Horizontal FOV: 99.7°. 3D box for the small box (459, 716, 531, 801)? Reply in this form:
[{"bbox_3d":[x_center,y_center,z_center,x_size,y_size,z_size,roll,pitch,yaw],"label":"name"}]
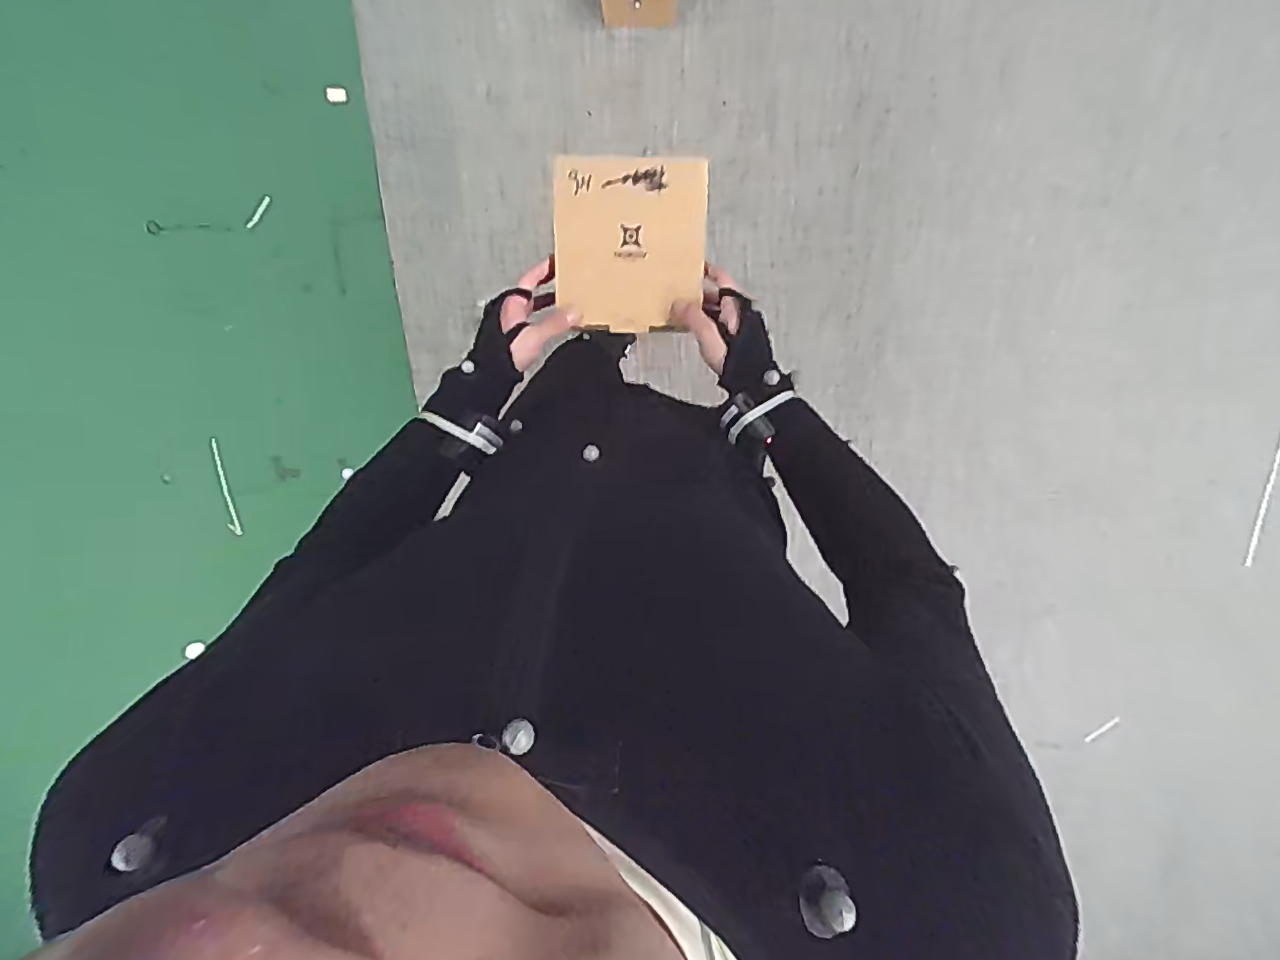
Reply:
[{"bbox_3d":[-0.441,0.853,1.668,0.168,0.176,0.179,-3,108,2],"label":"small box"}]

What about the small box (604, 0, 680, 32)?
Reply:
[{"bbox_3d":[0.007,-1.137,1.204,0.179,0.176,0.168,3,108,0],"label":"small box"}]

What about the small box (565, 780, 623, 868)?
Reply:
[{"bbox_3d":[-0.142,1.095,1.727,0.168,0.176,0.179,-2,106,2],"label":"small box"}]

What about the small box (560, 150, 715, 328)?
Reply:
[{"bbox_3d":[-0.003,-0.280,0.663,0.168,0.176,0.179,2,105,0],"label":"small box"}]
